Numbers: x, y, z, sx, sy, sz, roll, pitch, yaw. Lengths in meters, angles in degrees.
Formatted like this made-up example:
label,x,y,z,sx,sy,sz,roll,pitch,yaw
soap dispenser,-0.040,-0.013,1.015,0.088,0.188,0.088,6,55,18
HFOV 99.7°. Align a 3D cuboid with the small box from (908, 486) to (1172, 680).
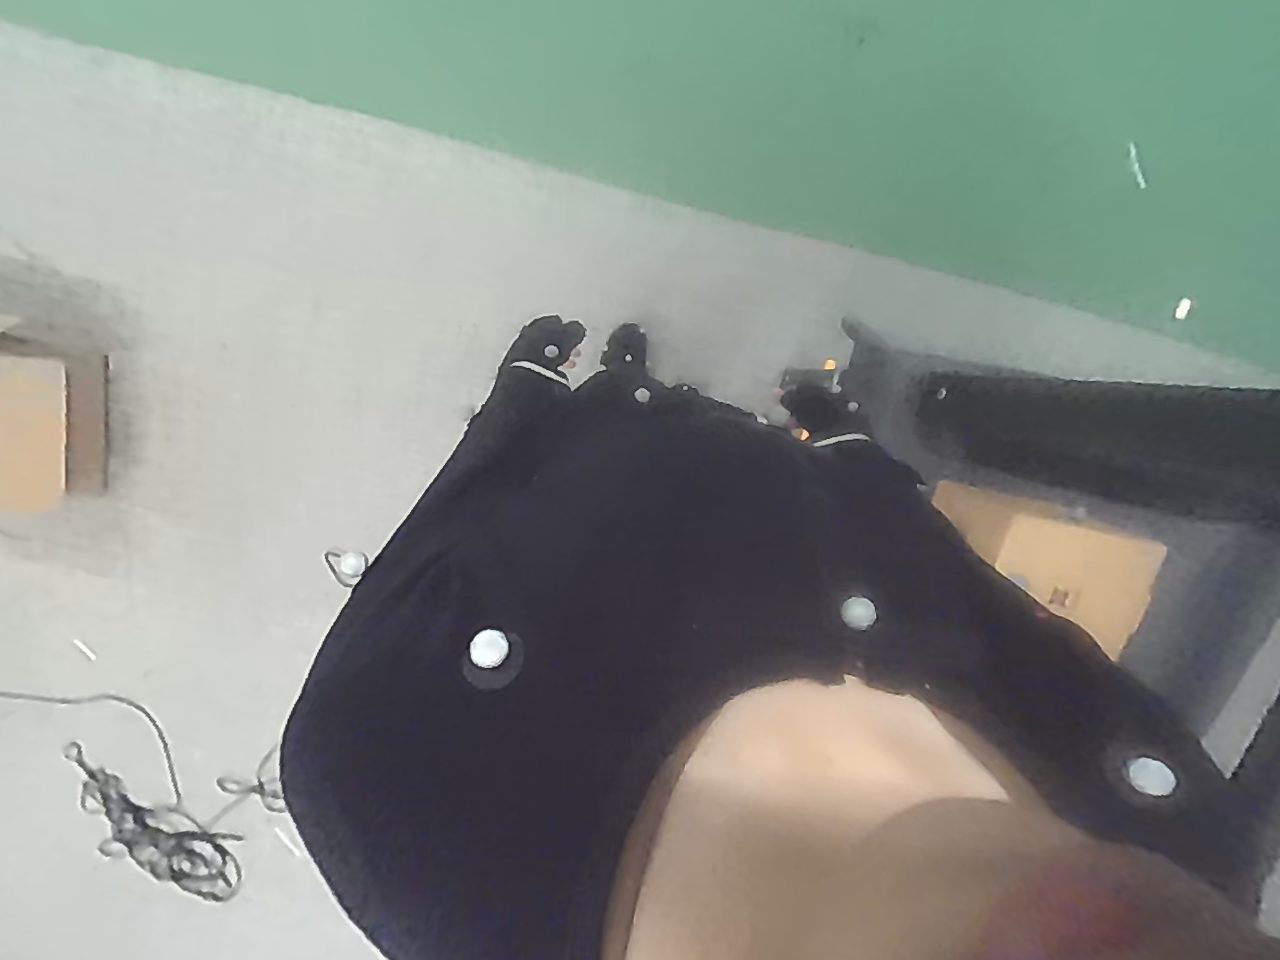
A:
label,x,y,z,sx,sy,sz,roll,pitch,yaw
small box,0.467,0.113,0.668,0.179,0.176,0.168,12,103,-1
